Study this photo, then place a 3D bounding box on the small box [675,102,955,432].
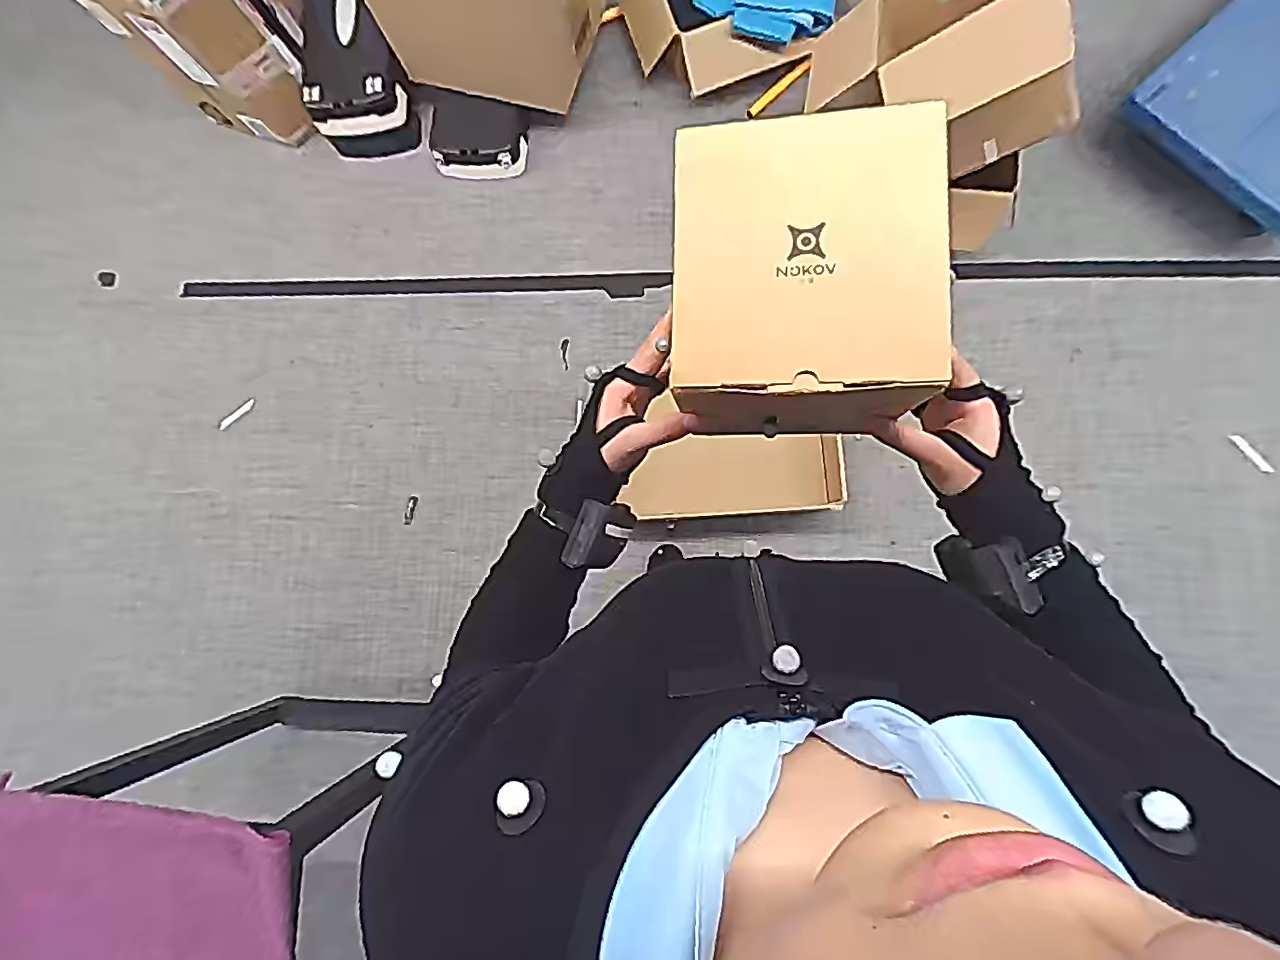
[{"bbox_3d":[0.117,-0.137,0.411,0.168,0.176,0.179,0,86,10],"label":"small box"}]
